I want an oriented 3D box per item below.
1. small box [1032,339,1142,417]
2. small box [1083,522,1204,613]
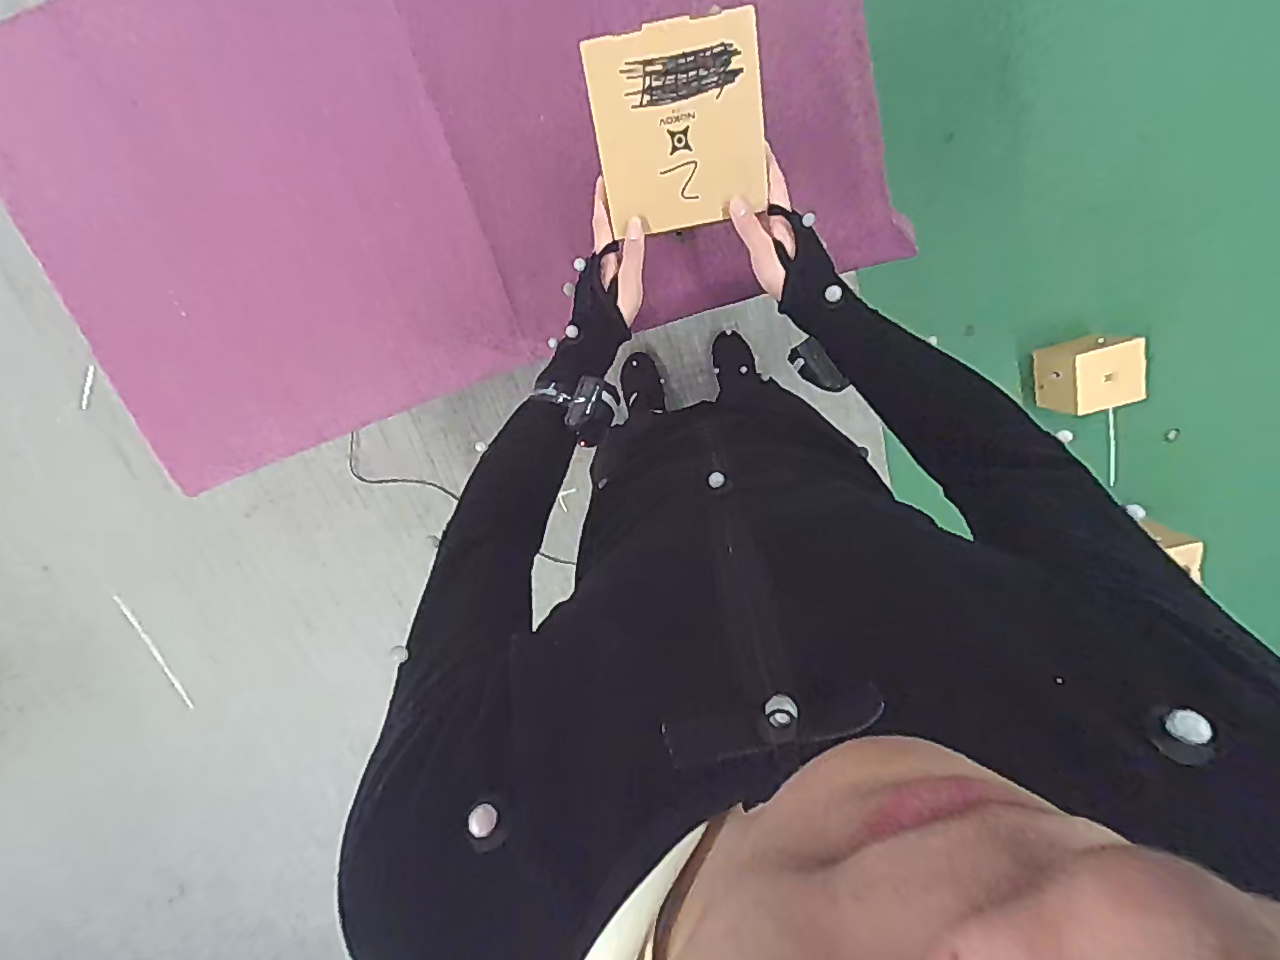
[{"bbox_3d":[1.218,-0.283,1.488,0.179,0.176,0.168,-16,105,3],"label":"small box"},{"bbox_3d":[1.355,0.231,1.464,0.179,0.176,0.168,-15,106,4],"label":"small box"}]
